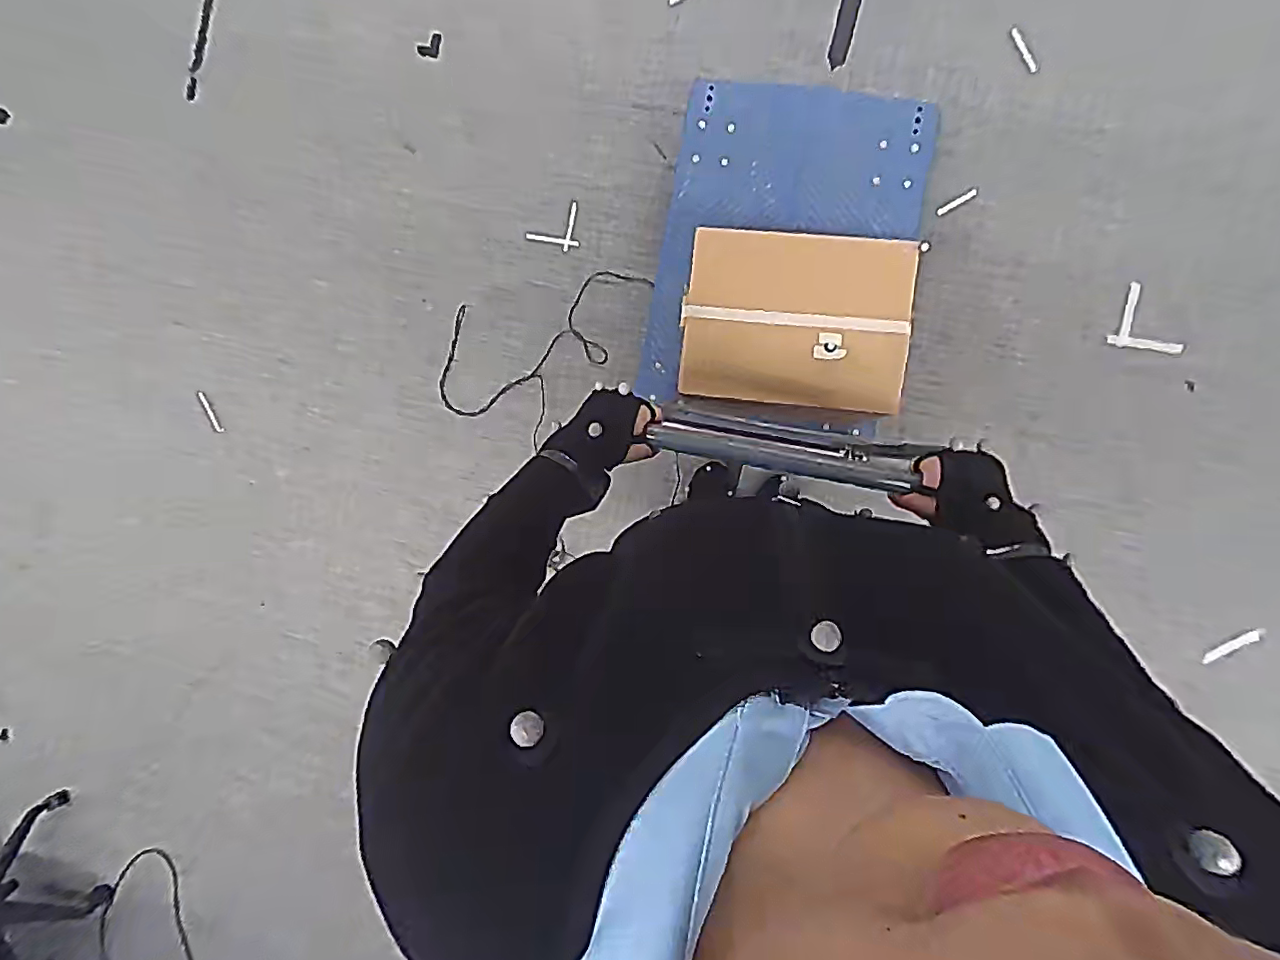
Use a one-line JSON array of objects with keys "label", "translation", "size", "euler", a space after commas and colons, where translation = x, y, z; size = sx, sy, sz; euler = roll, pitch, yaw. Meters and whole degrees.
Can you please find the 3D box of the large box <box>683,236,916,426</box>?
[{"label": "large box", "translation": [0.305, -0.294, 1.154], "size": [0.408, 0.320, 0.320], "euler": [6, 93, 5]}]
